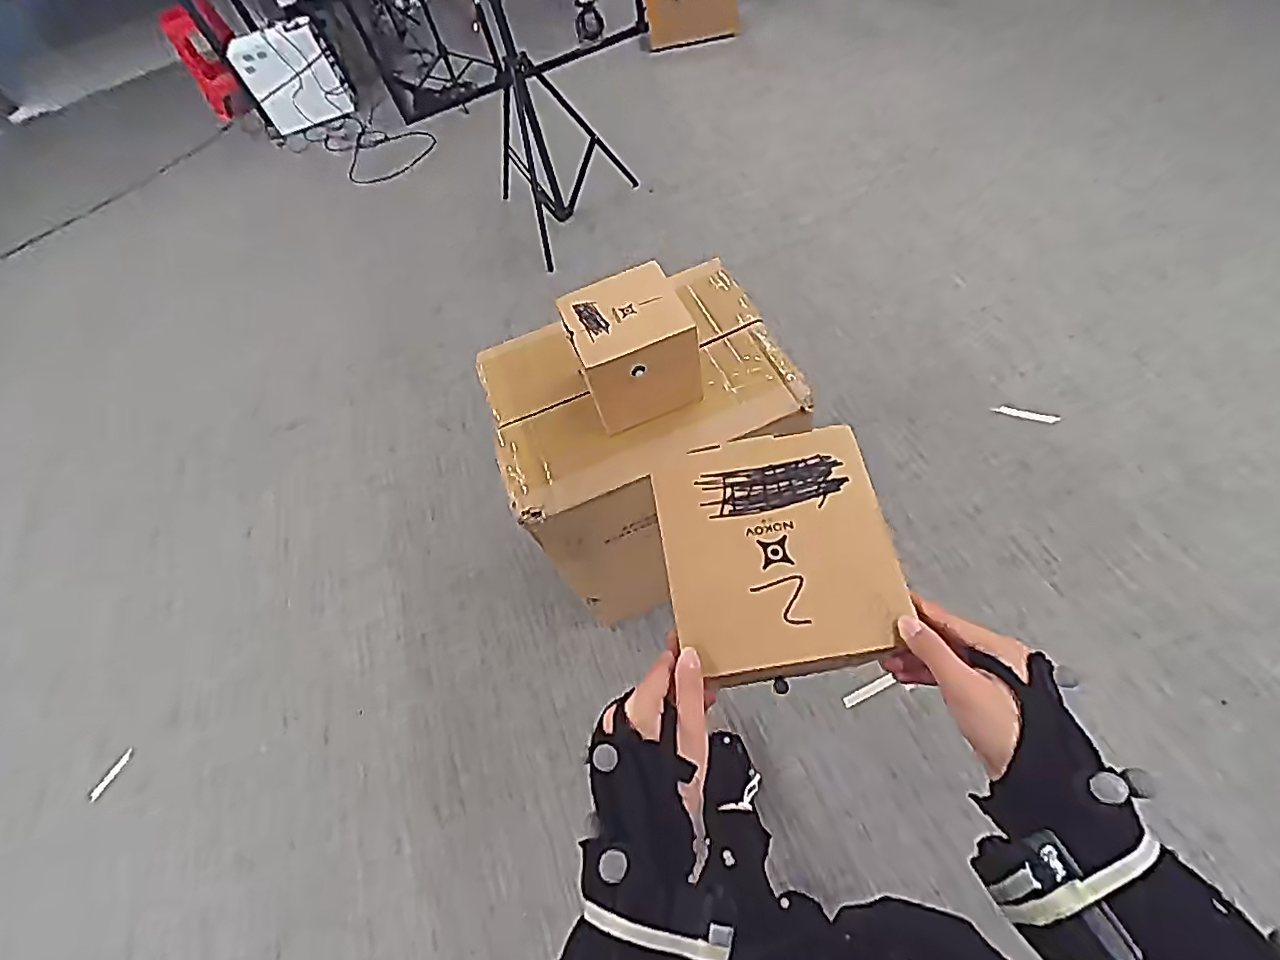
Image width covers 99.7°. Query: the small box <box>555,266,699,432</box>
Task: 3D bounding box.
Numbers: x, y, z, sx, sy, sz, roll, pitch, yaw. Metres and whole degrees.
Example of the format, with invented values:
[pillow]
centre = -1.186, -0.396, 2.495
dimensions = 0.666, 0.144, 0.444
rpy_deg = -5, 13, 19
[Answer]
[small box]
centre = -0.015, -0.205, 0.882
dimensions = 0.179, 0.176, 0.168
rpy_deg = -22, 59, -3
